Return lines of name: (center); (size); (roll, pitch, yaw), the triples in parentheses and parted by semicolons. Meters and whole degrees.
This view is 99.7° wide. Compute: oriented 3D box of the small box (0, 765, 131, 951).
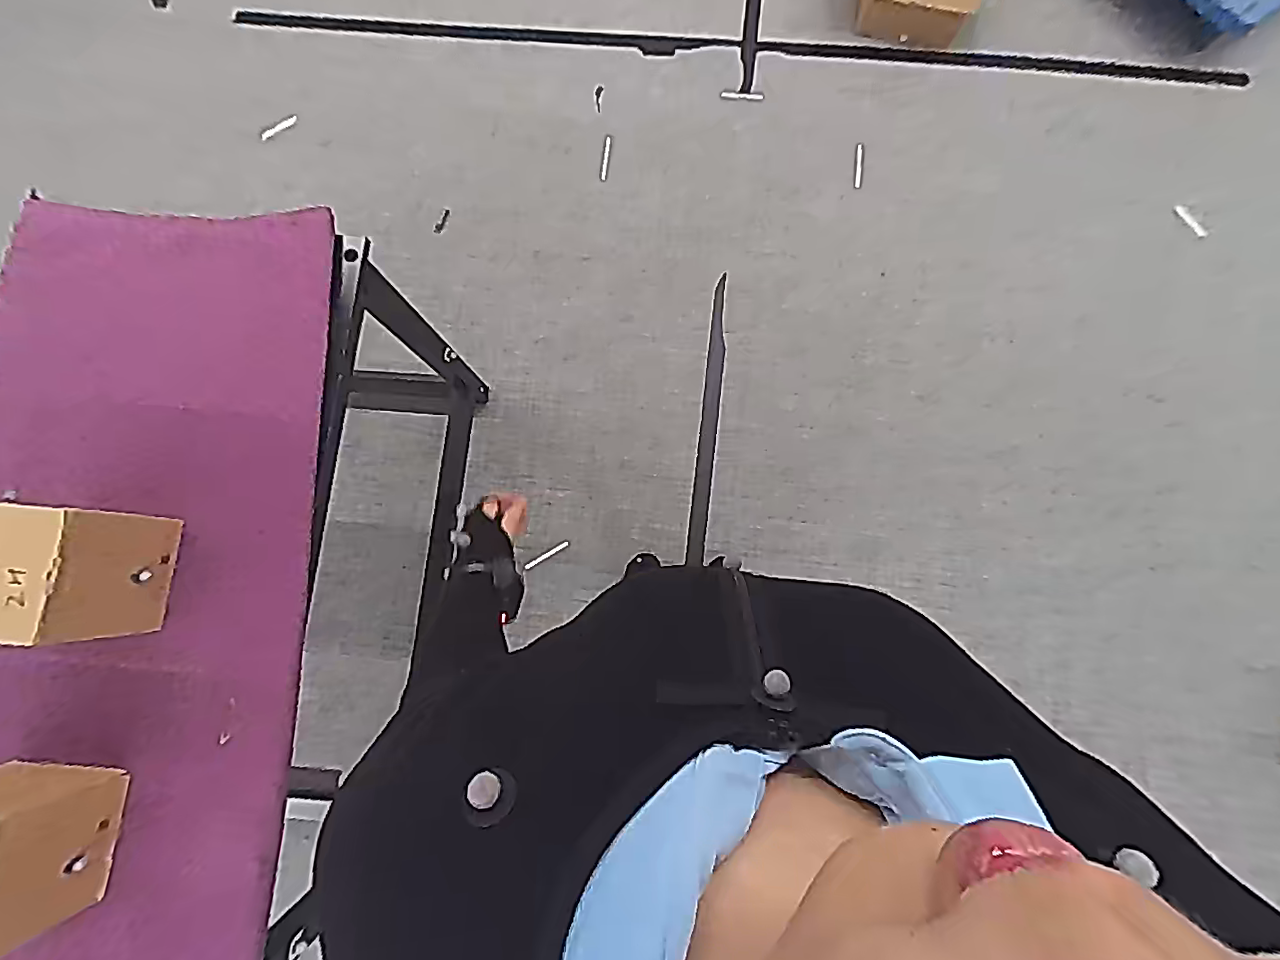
small box: (-0.810, 0.471, 0.673); (0.179, 0.176, 0.168); (4, 80, 1)

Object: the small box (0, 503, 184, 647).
small box: (-0.784, 0.124, 0.731); (0.179, 0.176, 0.168); (4, 81, 2)
